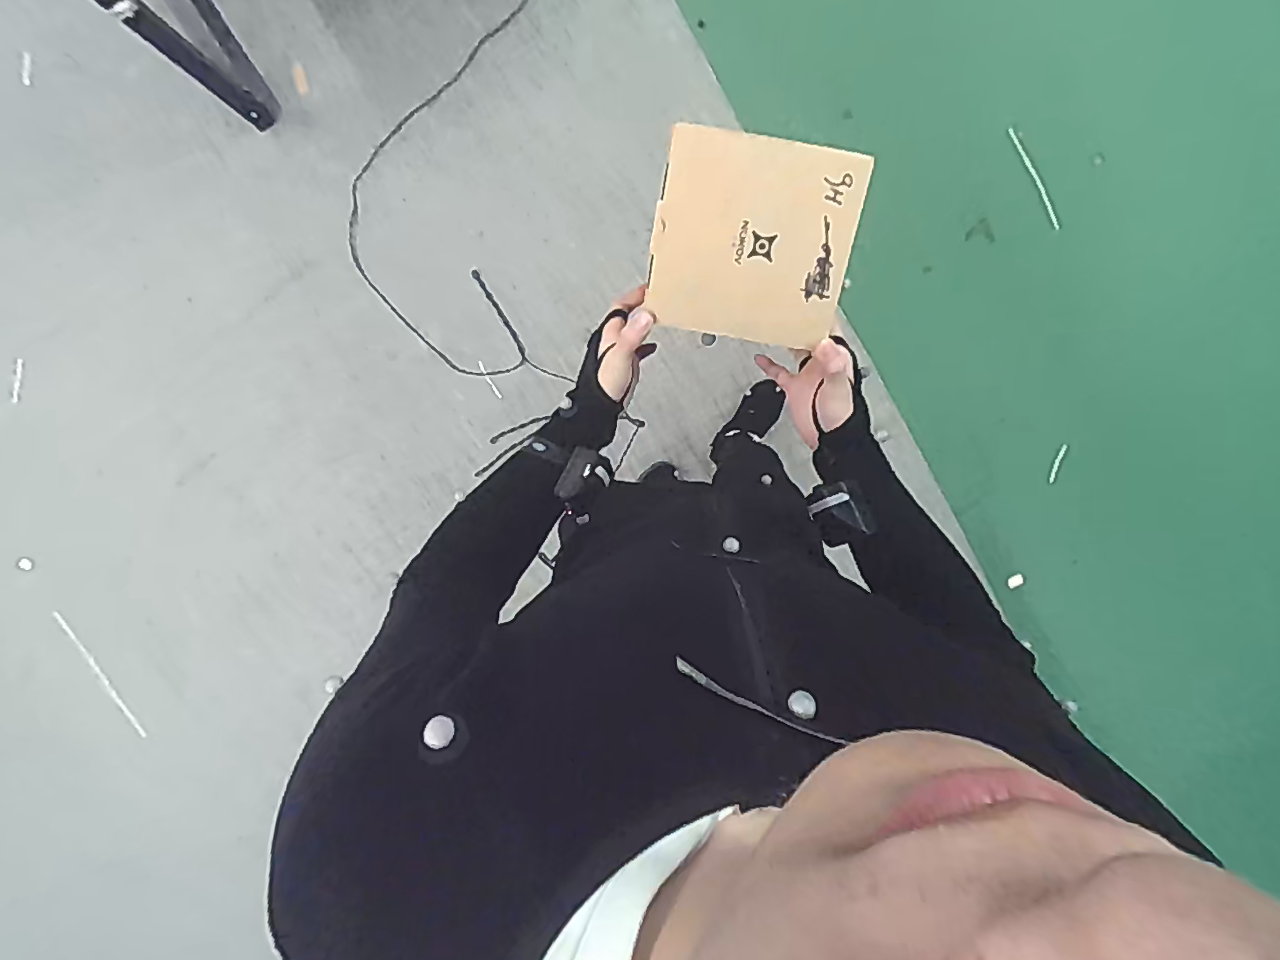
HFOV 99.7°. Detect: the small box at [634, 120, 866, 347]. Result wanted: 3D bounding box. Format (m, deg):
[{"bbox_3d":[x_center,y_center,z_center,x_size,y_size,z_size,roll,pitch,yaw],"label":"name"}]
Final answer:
[{"bbox_3d":[0.096,-0.235,0.554,0.179,0.176,0.168,9,107,-1],"label":"small box"}]
